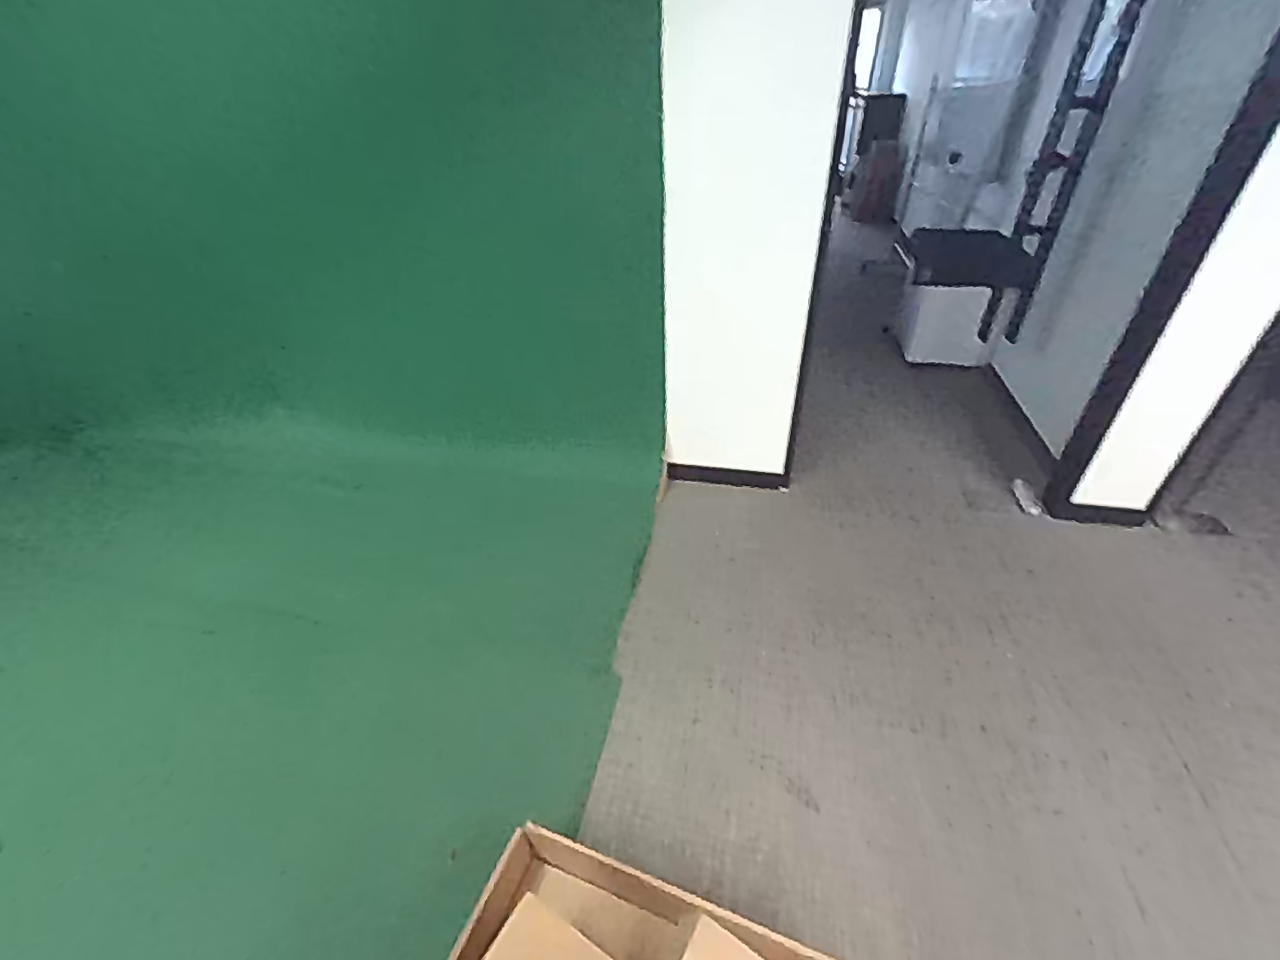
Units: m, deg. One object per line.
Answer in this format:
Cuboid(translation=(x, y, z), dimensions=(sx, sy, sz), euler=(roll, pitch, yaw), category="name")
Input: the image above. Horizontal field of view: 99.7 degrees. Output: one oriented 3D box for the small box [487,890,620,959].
Cuboid(translation=(-0.124, 0.731, 0.750), dimensions=(0.179, 0.176, 0.168), euler=(20, 43, 25), category="small box")
